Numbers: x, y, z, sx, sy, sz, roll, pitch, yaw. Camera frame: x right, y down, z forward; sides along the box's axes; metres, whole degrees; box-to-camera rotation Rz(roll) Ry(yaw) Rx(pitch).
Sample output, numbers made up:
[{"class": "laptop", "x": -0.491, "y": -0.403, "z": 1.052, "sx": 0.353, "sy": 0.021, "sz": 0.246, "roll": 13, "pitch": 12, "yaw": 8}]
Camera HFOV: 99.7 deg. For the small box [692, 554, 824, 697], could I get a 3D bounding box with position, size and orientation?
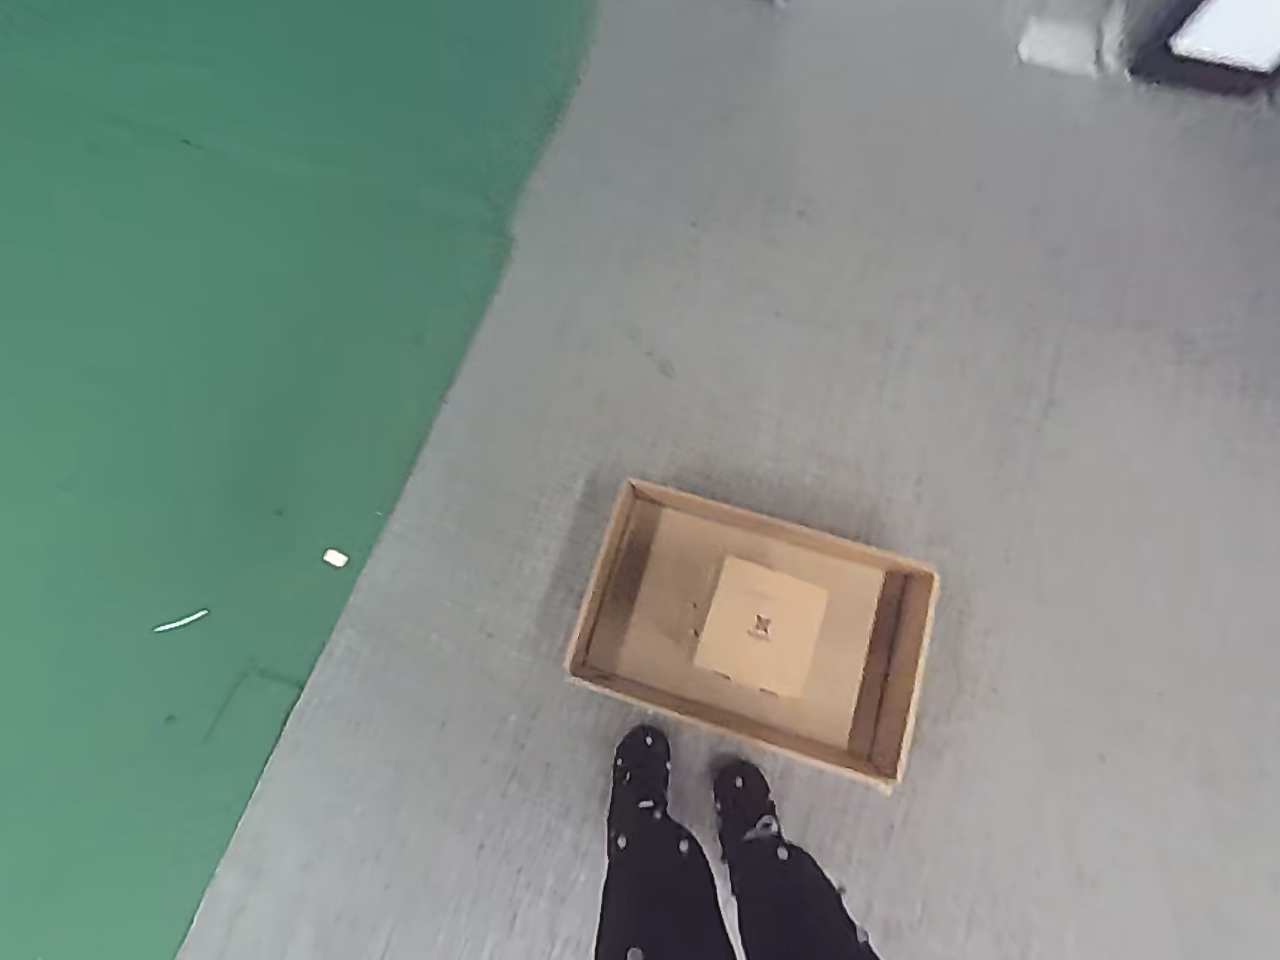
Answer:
[{"class": "small box", "x": 0.185, "y": 0.230, "z": 0.886, "sx": 0.168, "sy": 0.176, "sz": 0.179, "roll": 13, "pitch": 80, "yaw": 6}]
